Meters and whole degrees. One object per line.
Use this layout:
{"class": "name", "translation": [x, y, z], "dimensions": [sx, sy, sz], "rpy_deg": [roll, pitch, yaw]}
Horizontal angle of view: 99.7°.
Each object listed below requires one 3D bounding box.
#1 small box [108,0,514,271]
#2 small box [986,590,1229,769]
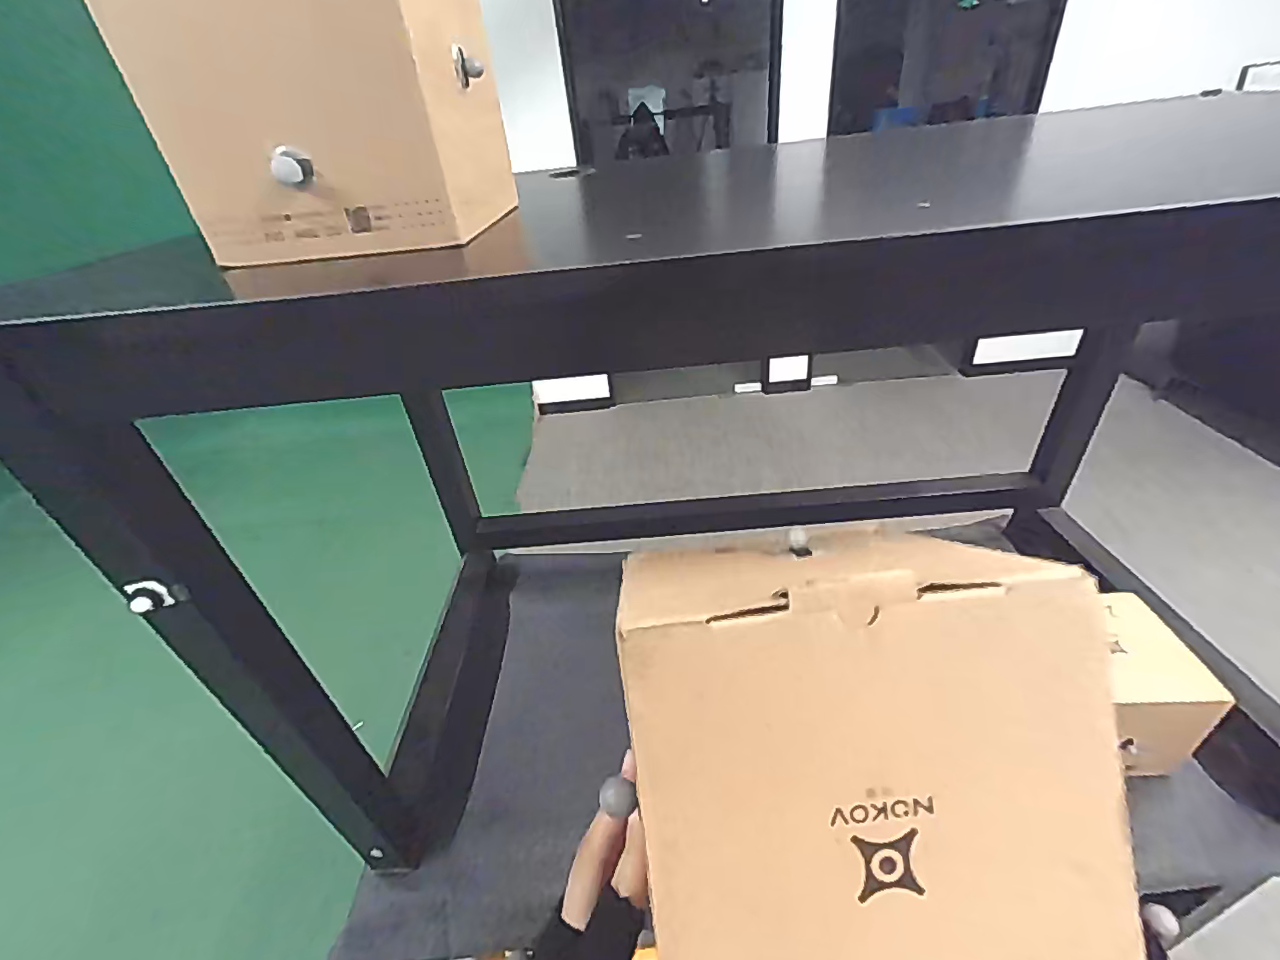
{"class": "small box", "translation": [-0.195, -0.253, 0.373], "dimensions": [0.168, 0.176, 0.179], "rpy_deg": [-4, 35, 4]}
{"class": "small box", "translation": [0.621, 0.277, 0.749], "dimensions": [0.168, 0.176, 0.179], "rpy_deg": [-3, 34, 6]}
